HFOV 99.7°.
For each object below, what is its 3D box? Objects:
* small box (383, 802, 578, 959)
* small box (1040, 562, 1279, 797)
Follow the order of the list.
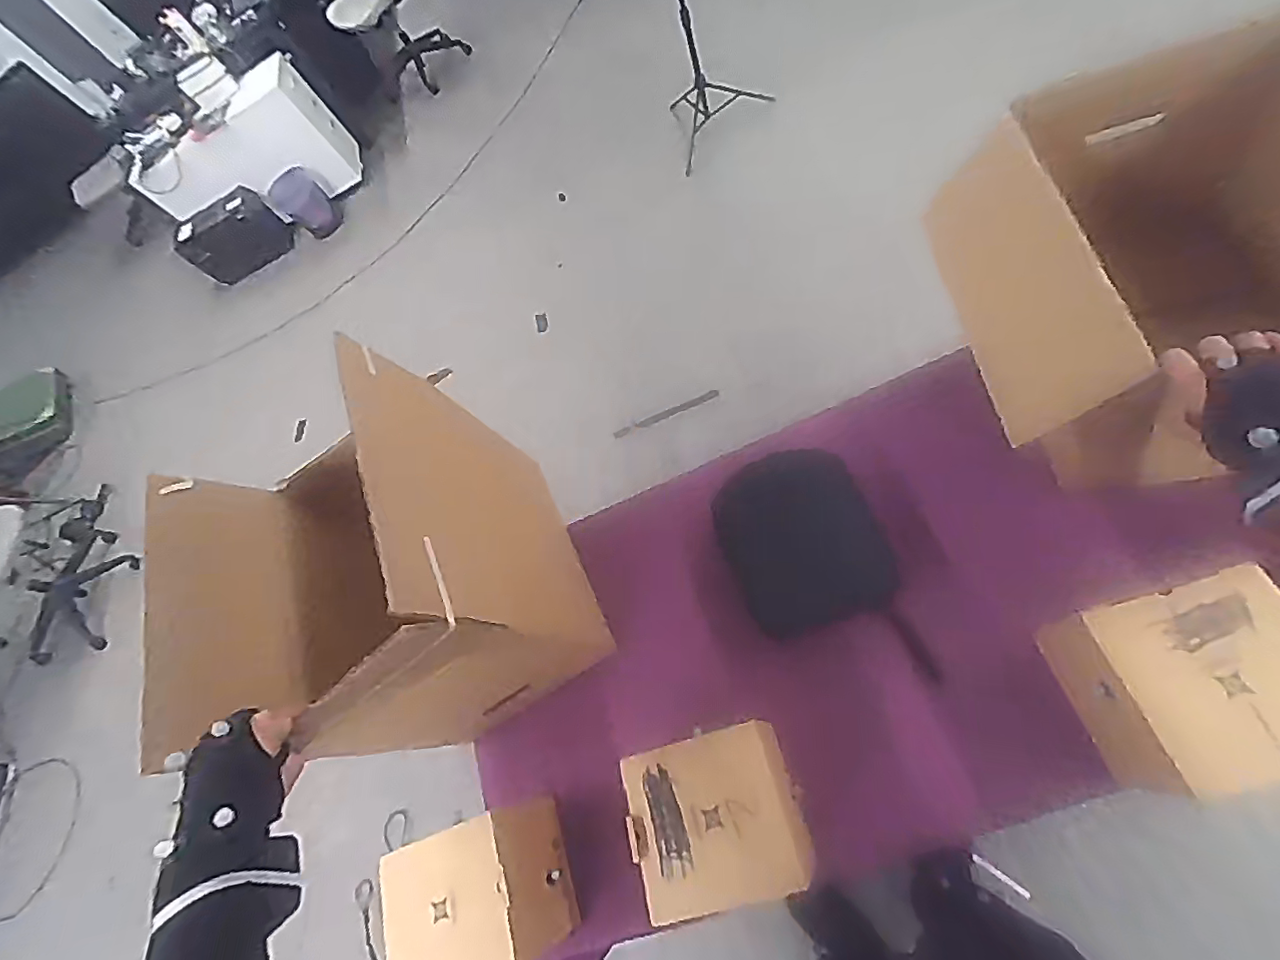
[{"bbox_3d":[-0.209,0.554,0.723,0.179,0.176,0.168,-26,60,7],"label":"small box"},{"bbox_3d":[0.572,0.211,0.571,0.168,0.176,0.179,-22,61,11],"label":"small box"}]
